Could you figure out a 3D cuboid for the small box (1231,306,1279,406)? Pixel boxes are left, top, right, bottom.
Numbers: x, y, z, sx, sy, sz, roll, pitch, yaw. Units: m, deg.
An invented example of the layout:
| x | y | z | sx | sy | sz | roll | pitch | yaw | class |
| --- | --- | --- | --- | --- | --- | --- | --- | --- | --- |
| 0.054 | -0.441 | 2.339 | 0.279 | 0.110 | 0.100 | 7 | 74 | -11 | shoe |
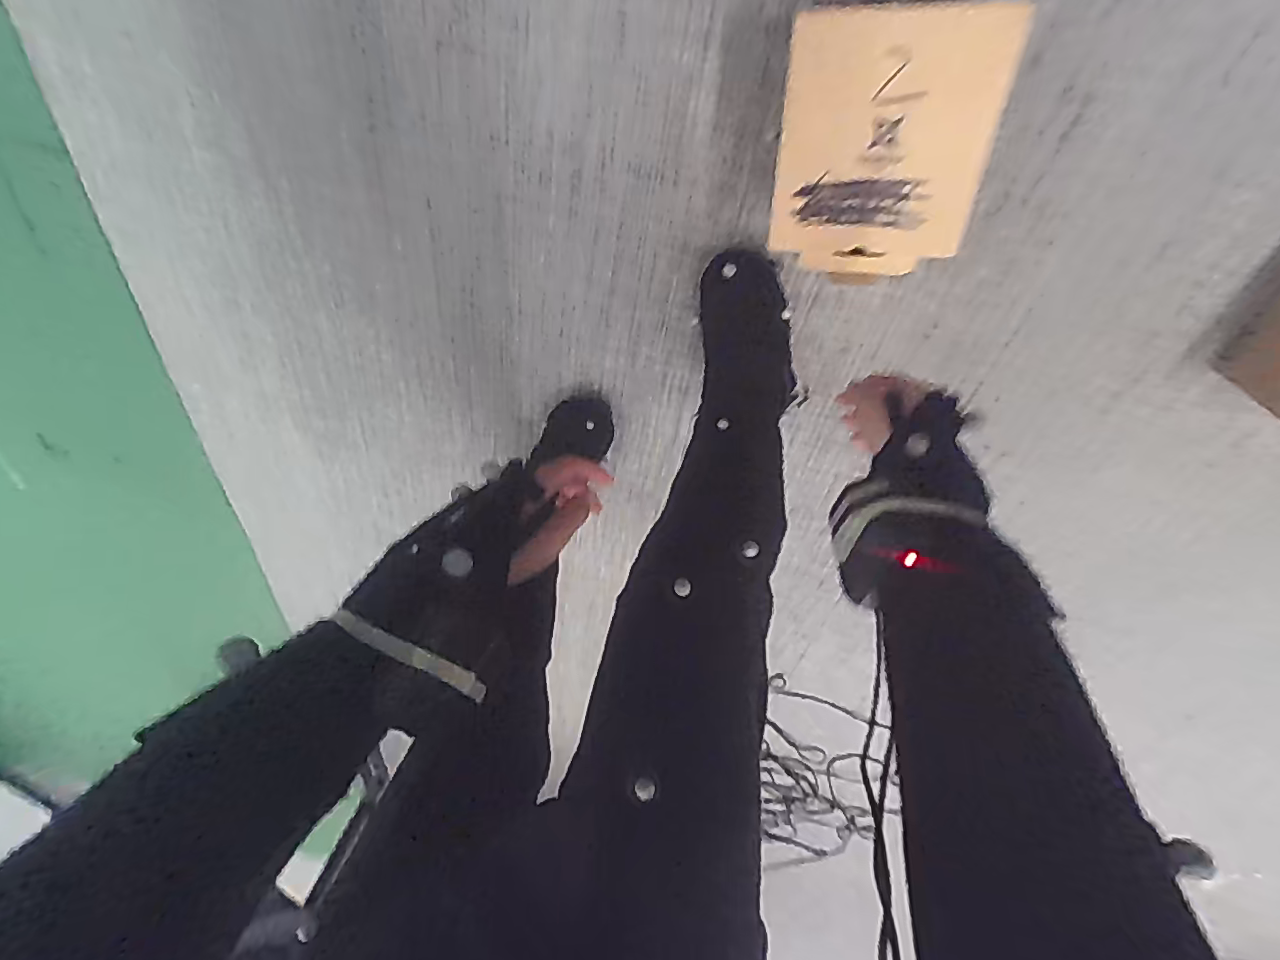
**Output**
| x | y | z | sx | sy | sz | roll | pitch | yaw | class |
| --- | --- | --- | --- | --- | --- | --- | --- | --- | --- |
| 0.754 | -0.127 | 0.515 | 0.168 | 0.176 | 0.179 | 14 | 130 | 4 | small box |
